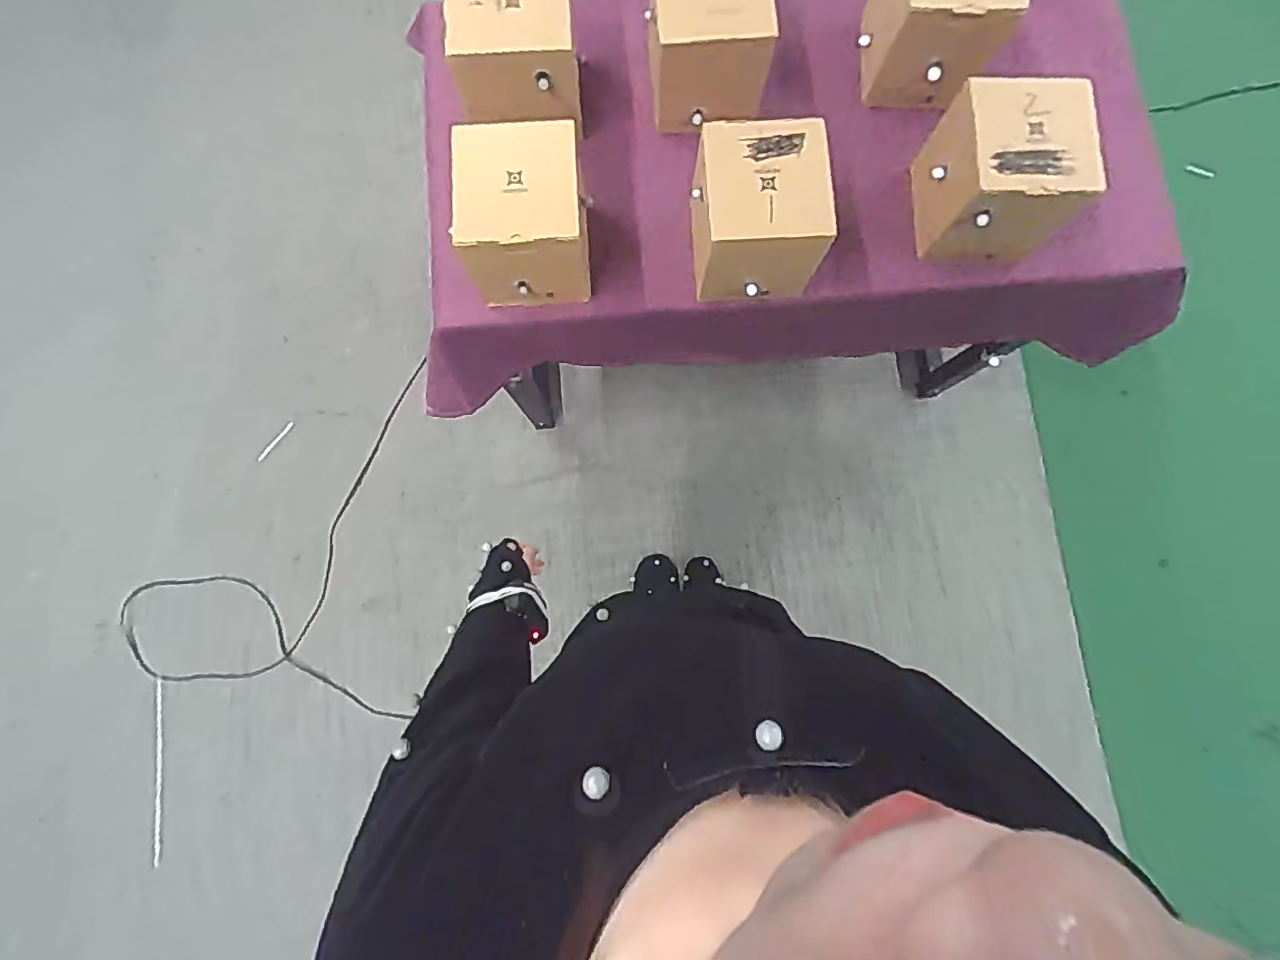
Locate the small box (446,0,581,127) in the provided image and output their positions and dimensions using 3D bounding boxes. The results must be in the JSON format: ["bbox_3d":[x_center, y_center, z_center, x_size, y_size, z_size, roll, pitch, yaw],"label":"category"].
[{"bbox_3d":[-0.184,-0.654,0.830,0.179,0.176,0.168,-3,81,0],"label":"small box"}]

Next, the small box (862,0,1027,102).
[{"bbox_3d":[0.457,-0.725,0.835,0.168,0.176,0.179,2,82,0],"label":"small box"}]

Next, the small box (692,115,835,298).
[{"bbox_3d":[0.167,-0.387,0.787,0.168,0.176,0.179,-3,81,1],"label":"small box"}]

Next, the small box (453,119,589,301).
[{"bbox_3d":[-0.165,-0.385,0.791,0.168,0.176,0.179,-3,82,-1],"label":"small box"}]
